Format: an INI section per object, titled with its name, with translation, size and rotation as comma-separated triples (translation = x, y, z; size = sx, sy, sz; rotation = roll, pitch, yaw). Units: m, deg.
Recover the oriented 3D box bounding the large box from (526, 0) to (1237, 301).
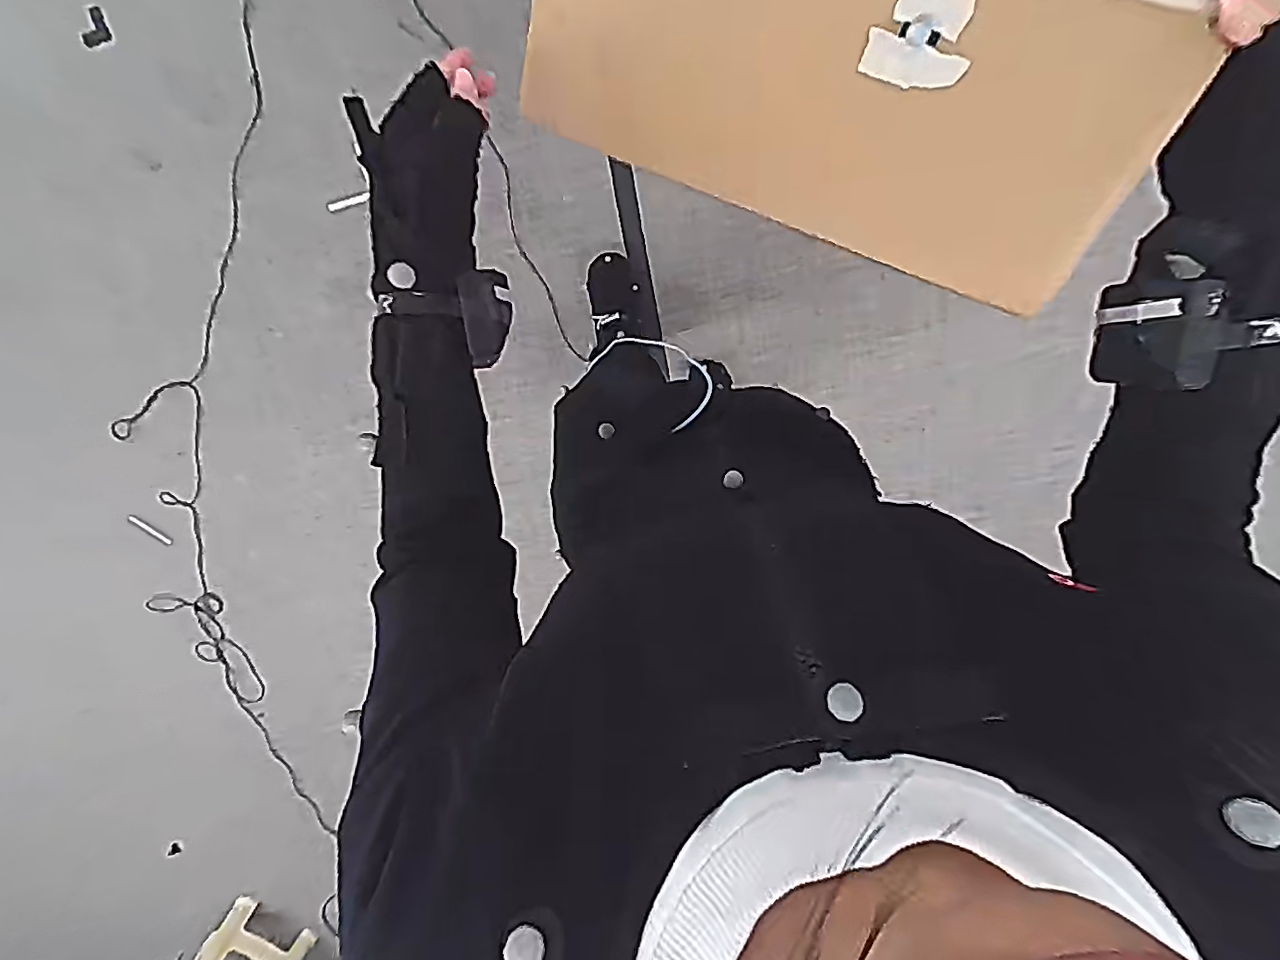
[large box]
translation = 0.180, -0.376, 0.432
size = 0.408, 0.320, 0.320
rotation = 27, 123, 14
